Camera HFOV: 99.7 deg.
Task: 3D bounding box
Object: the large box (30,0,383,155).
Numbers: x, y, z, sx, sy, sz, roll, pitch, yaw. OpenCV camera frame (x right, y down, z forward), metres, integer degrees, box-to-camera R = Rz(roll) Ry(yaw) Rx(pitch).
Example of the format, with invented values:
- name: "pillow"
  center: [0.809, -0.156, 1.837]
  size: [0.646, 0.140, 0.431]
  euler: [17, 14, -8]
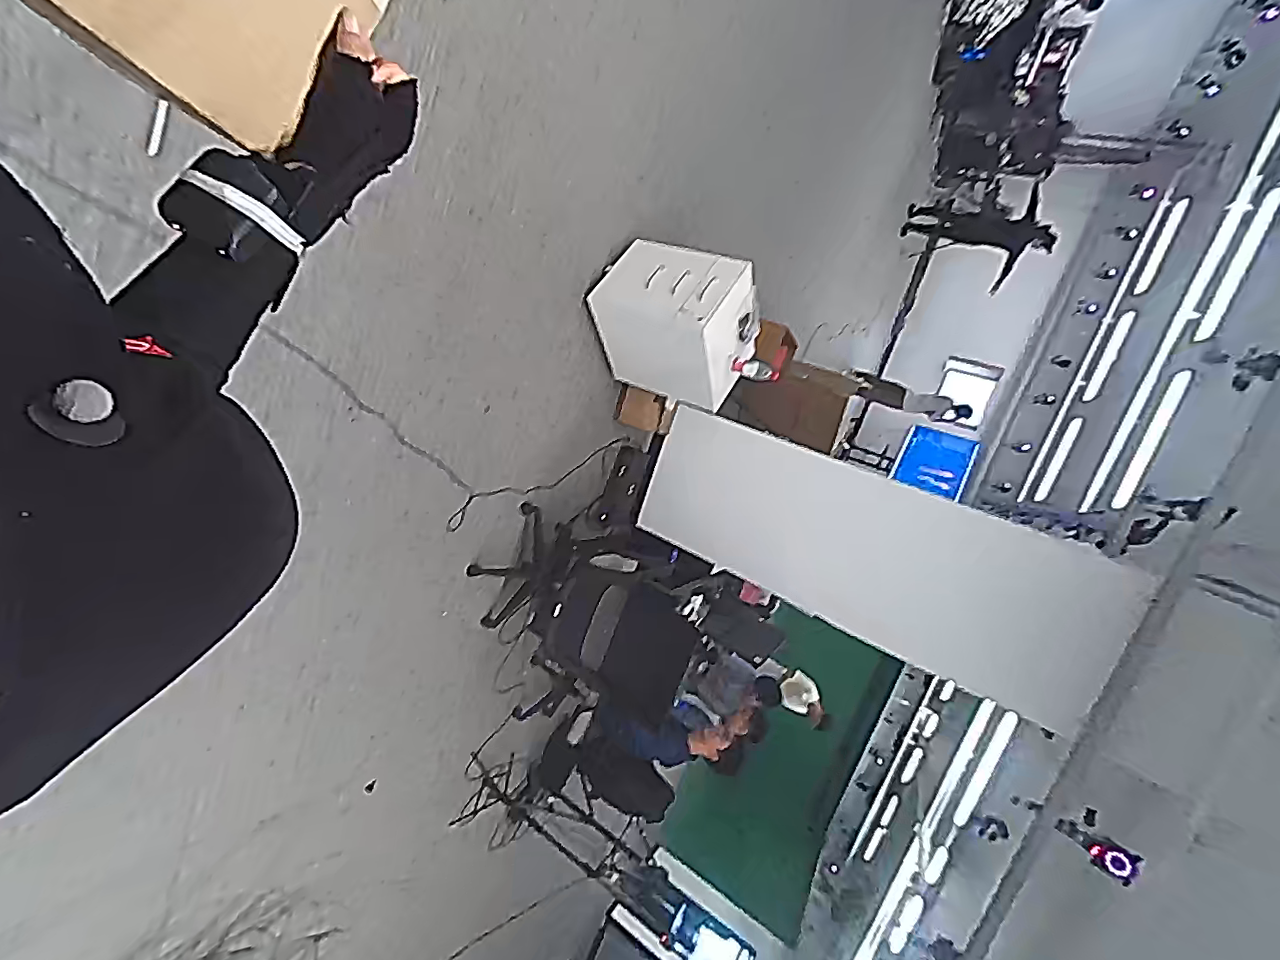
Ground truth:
- name: "large box"
  center: [-0.391, -0.501, 0.315]
  size: [0.320, 0.320, 0.408]
  euler: [-55, 155, 2]
